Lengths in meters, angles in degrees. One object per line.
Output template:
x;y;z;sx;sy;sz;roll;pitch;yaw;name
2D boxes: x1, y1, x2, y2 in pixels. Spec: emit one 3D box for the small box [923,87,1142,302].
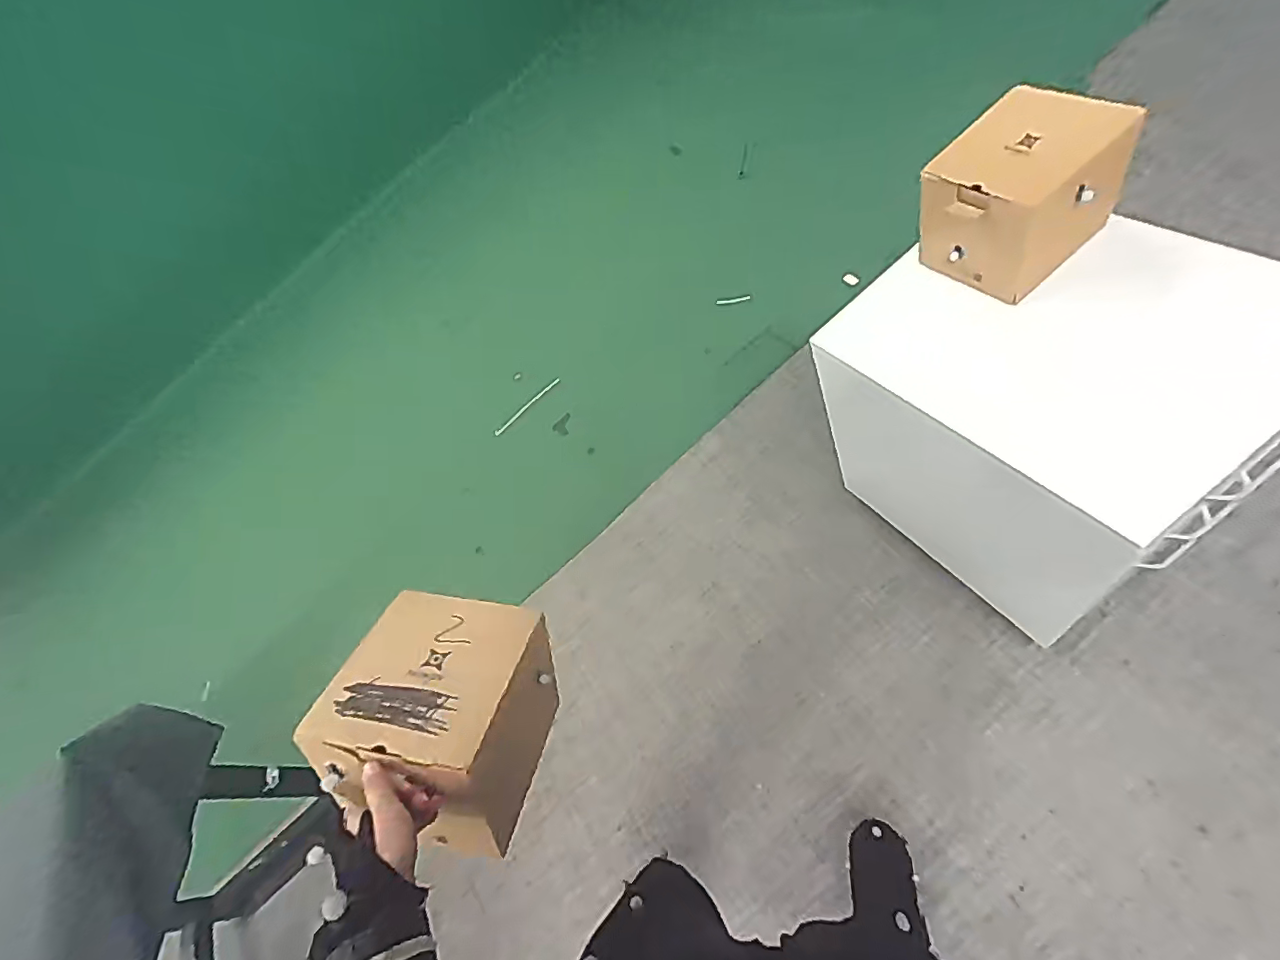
0.518;-0.389;0.750;0.179;0.176;0.168;-42;54;2;small box
